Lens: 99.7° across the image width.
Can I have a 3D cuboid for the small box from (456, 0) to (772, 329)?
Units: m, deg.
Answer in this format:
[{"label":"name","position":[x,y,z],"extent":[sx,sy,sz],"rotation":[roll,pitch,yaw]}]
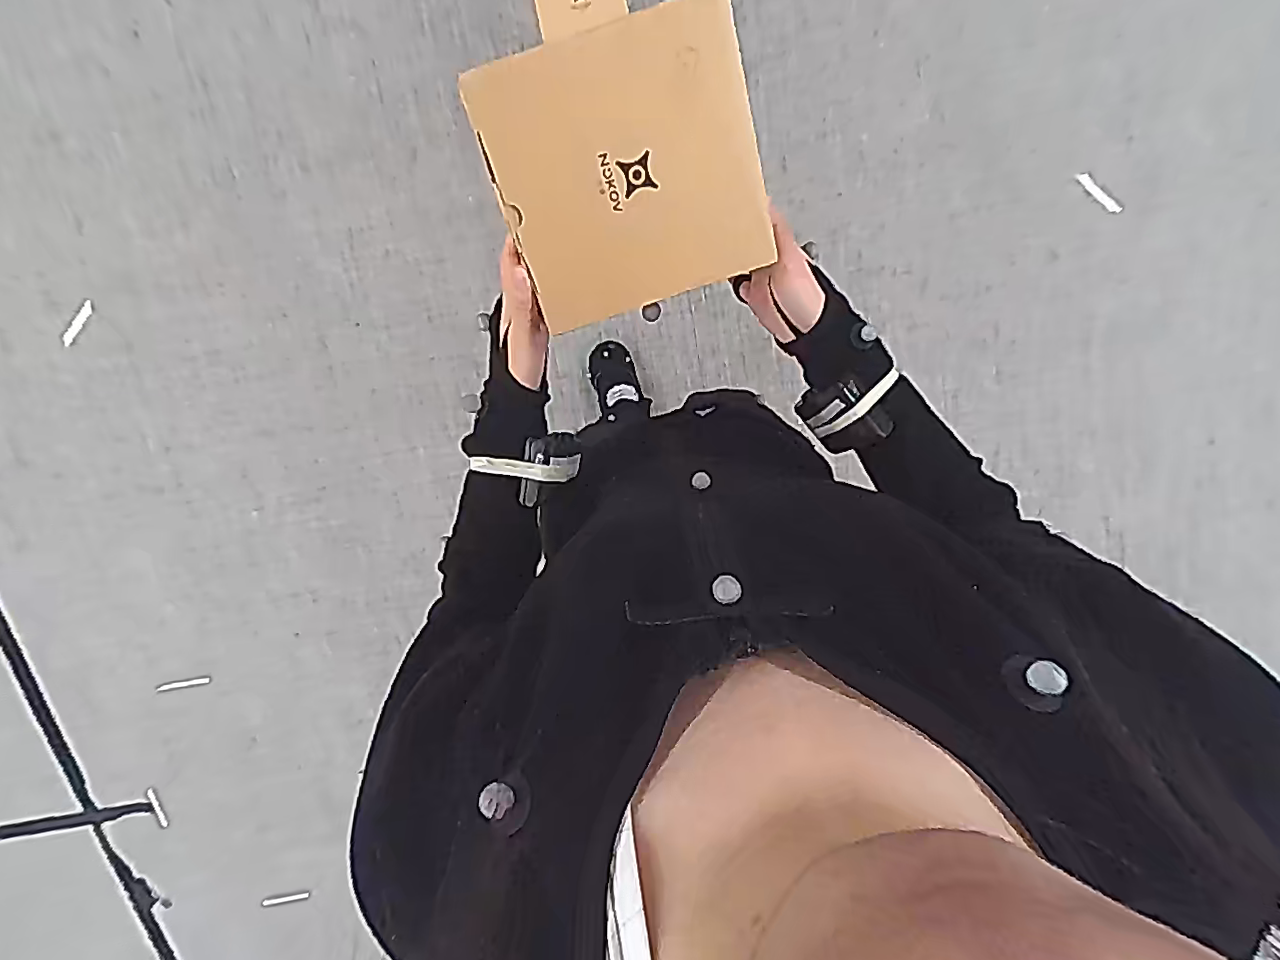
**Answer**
[{"label":"small box","position":[-0.017,-0.238,0.430],"extent":[0.179,0.176,0.168],"rotation":[-18,114,3]}]
